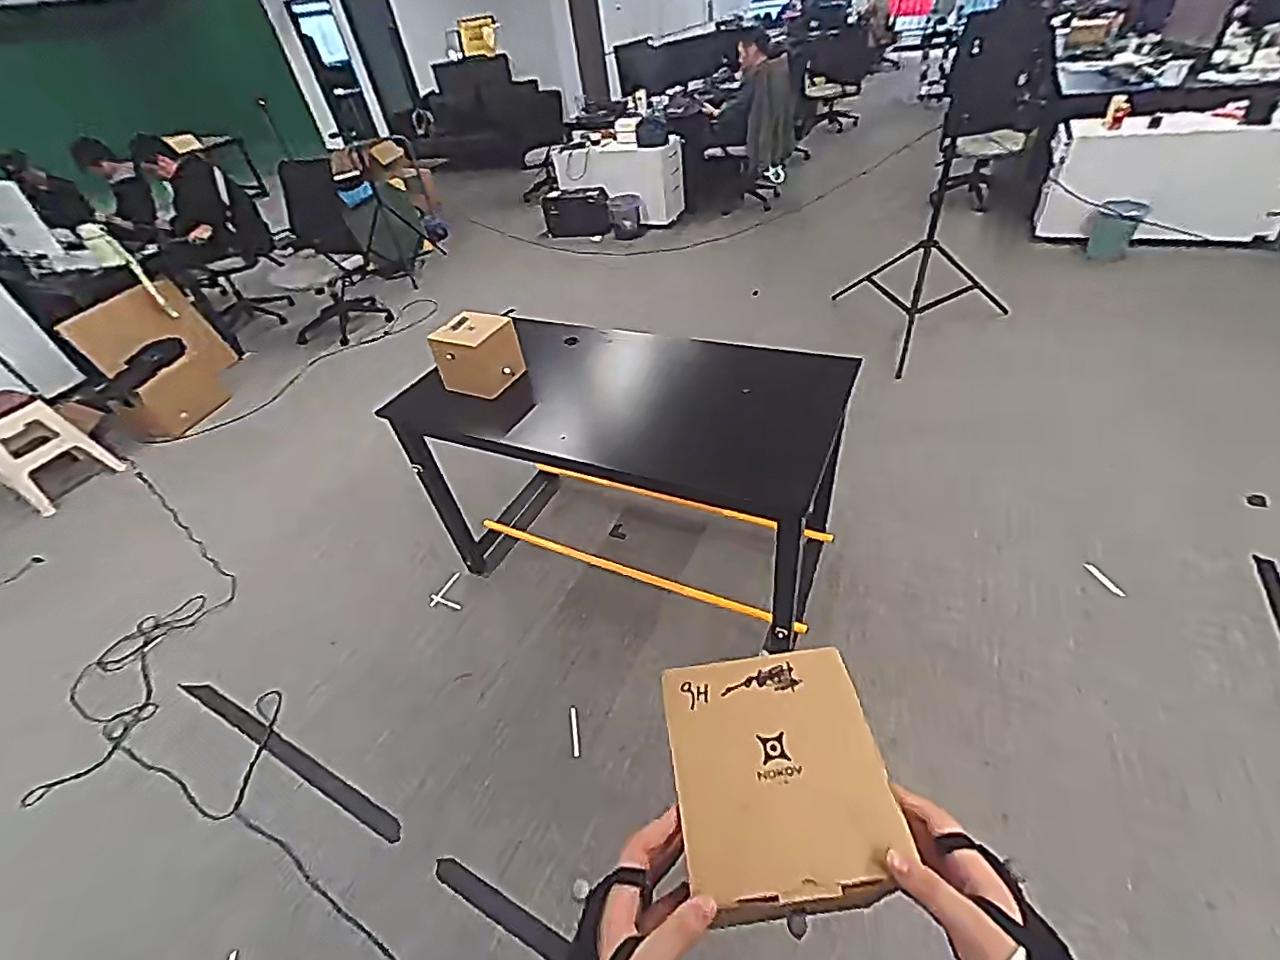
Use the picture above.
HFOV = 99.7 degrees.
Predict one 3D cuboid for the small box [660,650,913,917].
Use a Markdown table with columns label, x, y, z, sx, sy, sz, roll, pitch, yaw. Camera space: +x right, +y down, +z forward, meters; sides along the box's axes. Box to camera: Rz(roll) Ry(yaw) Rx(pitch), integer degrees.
| label | x | y | z | sx | sy | sz | roll | pitch | yaw |
| --- | --- | --- | --- | --- | --- | --- | --- | --- | --- |
| small box | 0.114 | 0.283 | 0.498 | 0.168 | 0.176 | 0.179 | -8 | 48 | -1 |

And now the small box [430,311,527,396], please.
| label | x | y | z | sx | sy | sz | roll | pitch | yaw |
| --- | --- | --- | --- | --- | --- | --- | --- | --- | --- |
| small box | -0.451 | -0.358 | 1.535 | 0.179 | 0.176 | 0.168 | 15 | 47 | 23 |
